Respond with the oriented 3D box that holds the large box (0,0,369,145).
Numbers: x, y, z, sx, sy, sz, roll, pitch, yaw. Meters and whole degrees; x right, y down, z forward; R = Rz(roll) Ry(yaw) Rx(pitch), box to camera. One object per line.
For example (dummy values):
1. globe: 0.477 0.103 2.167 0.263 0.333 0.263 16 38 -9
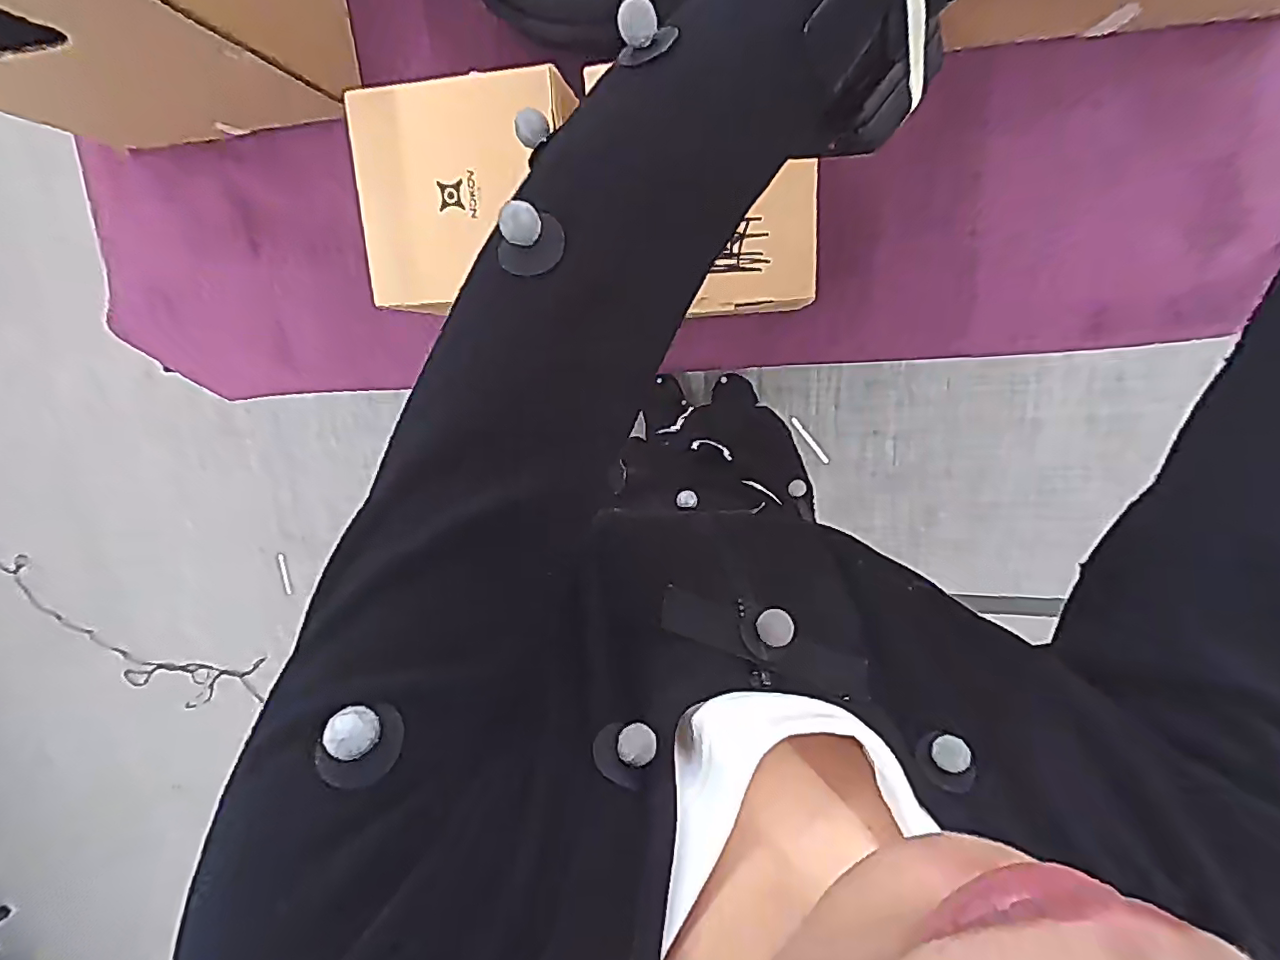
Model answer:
1. large box: -0.478 -0.543 0.416 0.320 0.320 0.408 -2 107 10
